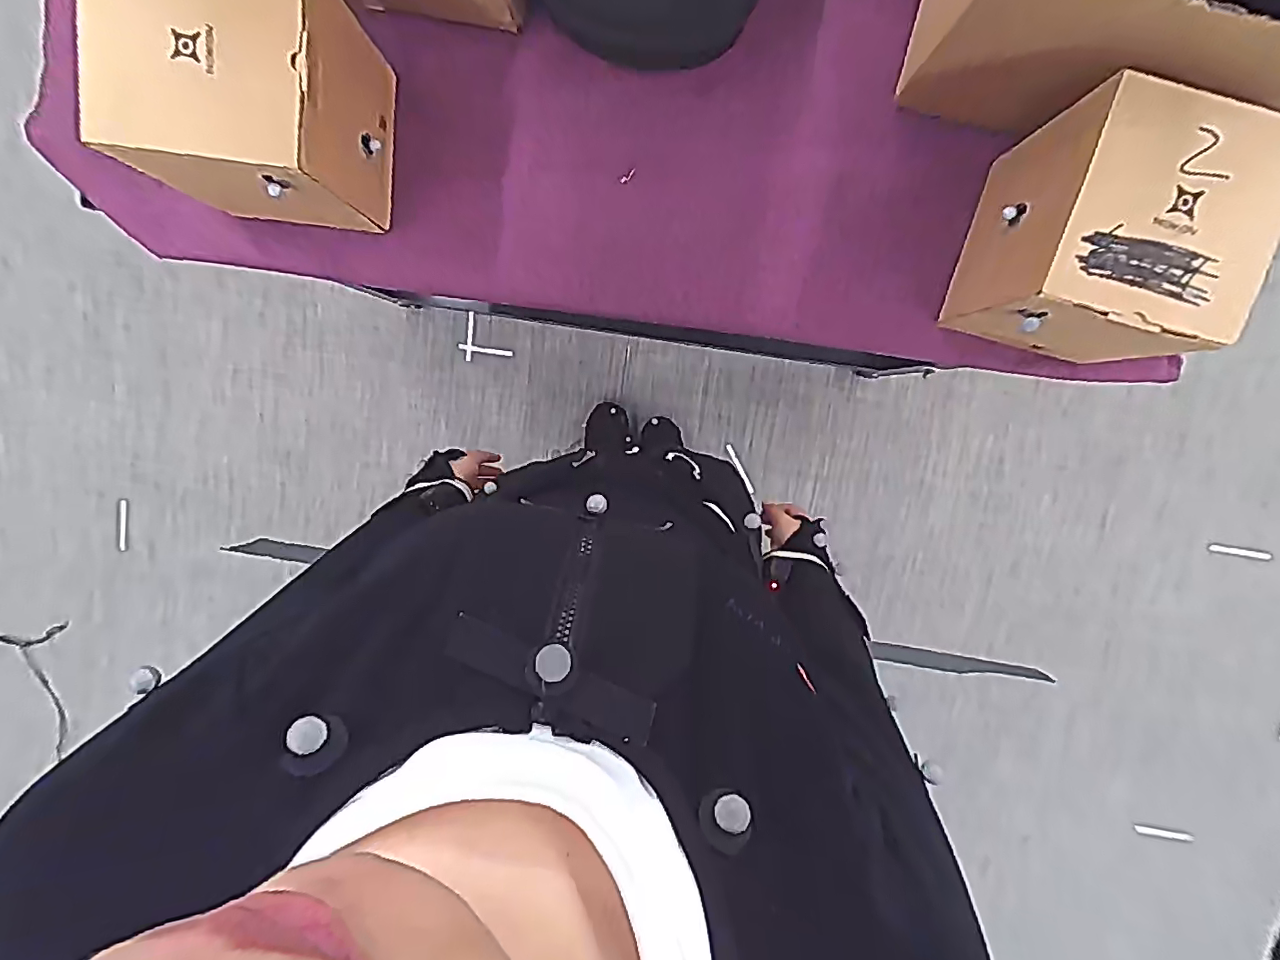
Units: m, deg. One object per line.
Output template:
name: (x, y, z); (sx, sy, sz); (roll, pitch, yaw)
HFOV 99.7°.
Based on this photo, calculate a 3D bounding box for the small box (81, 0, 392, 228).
small box: (-0.362, -0.357, 0.514); (0.179, 0.176, 0.168); (5, 98, -3)
